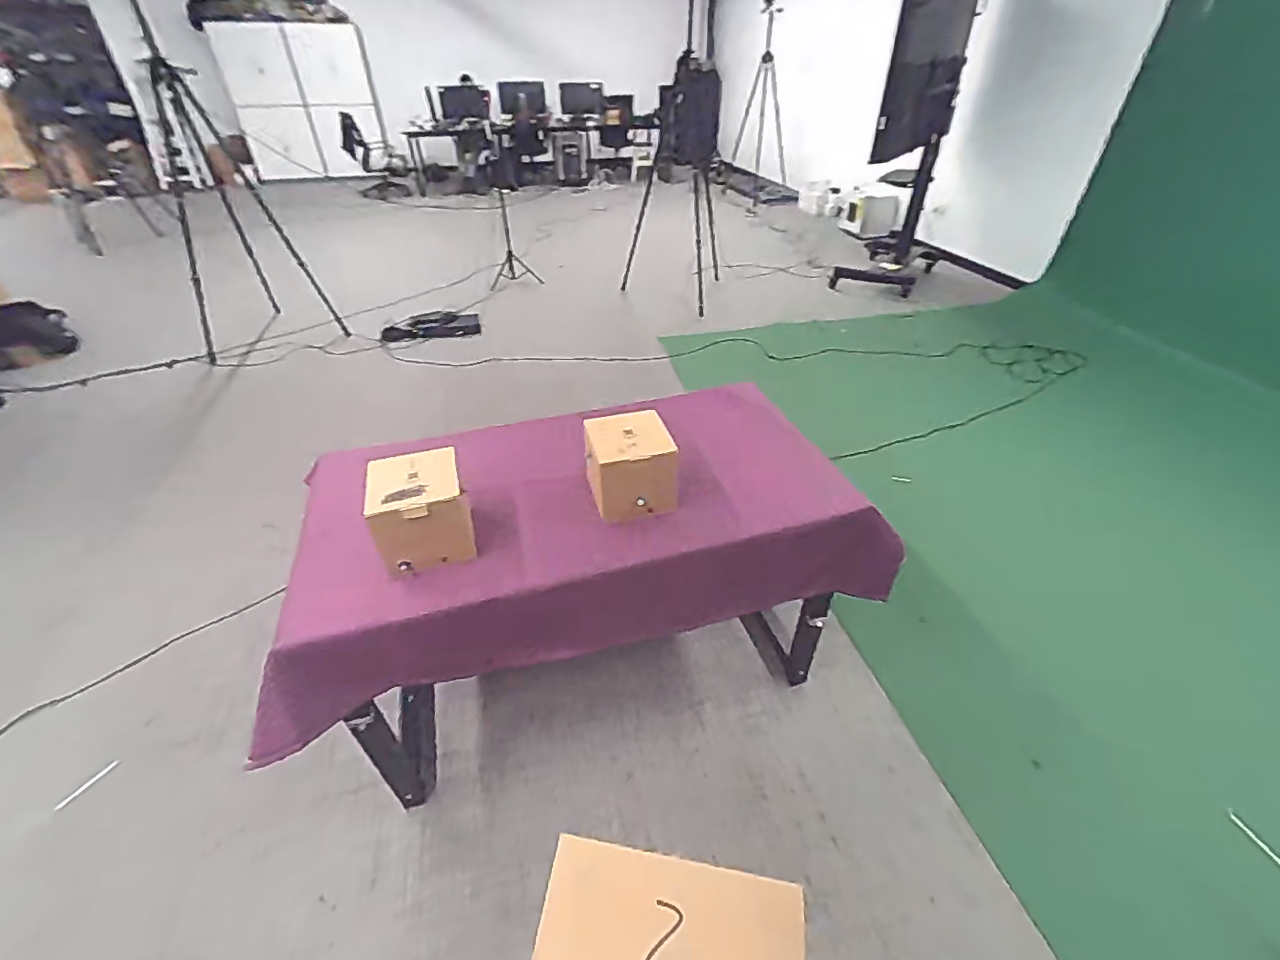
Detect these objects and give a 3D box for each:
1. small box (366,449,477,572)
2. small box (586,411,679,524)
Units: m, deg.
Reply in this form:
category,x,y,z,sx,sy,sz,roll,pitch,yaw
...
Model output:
category,x,y,z,sx,sy,sz,roll,pitch,yaw
small box,-0.429,0.065,1.079,0.168,0.176,0.179,-12,38,-14
small box,-0.020,-0.028,1.187,0.168,0.176,0.179,-11,39,-11
